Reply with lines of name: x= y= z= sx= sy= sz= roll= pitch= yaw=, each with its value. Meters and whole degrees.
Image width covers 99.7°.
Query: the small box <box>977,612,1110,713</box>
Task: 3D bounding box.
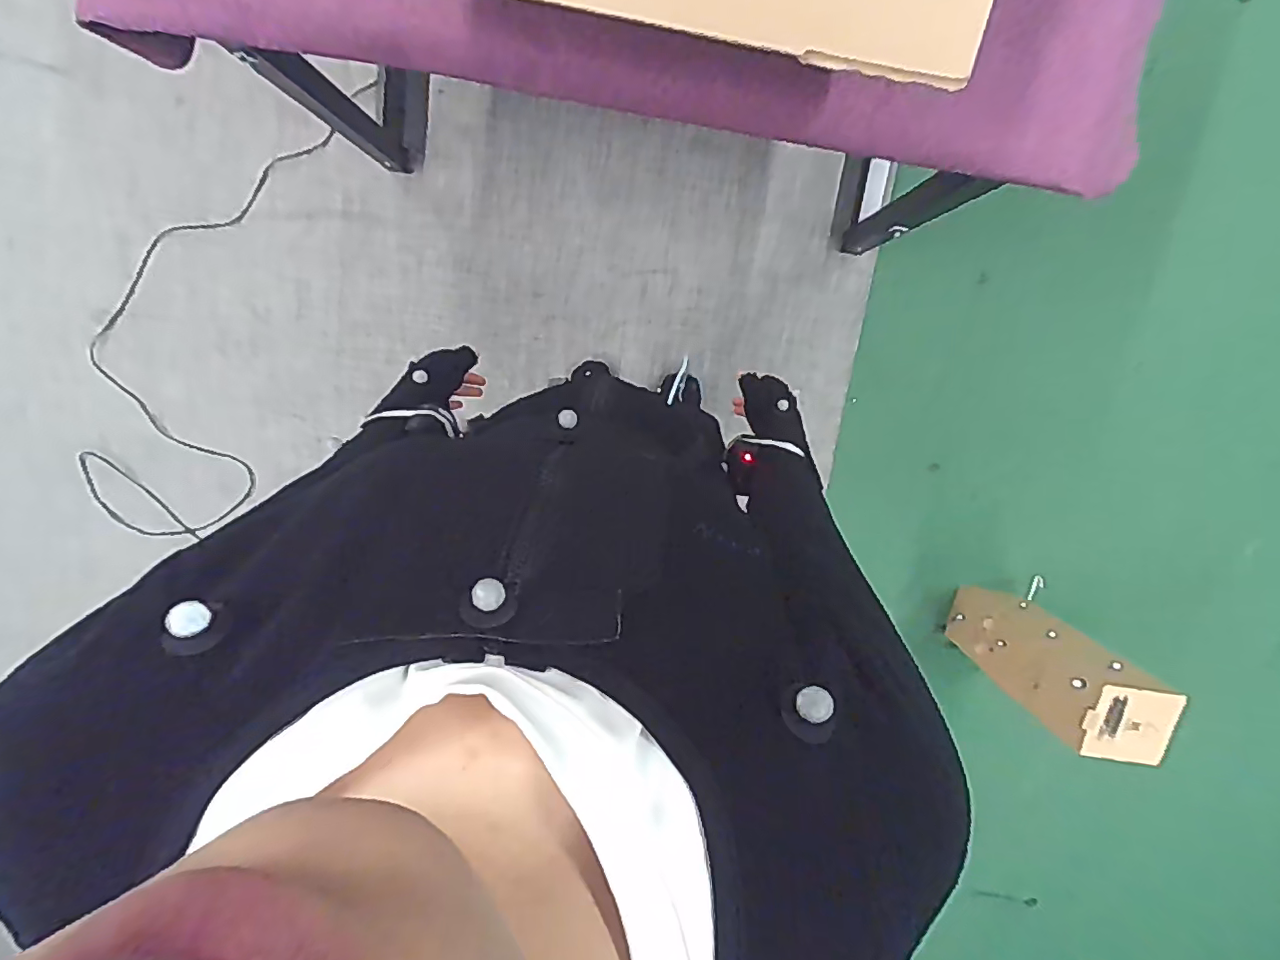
small box: x=0.988 y=0.444 z=1.339 sx=0.179 sy=0.176 sz=0.168 roll=9 pitch=103 yaw=-1

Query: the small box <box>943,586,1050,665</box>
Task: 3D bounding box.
small box: x=0.987 y=0.409 z=1.498 sx=0.179 sy=0.176 sz=0.168 roll=10 pitch=102 yaw=-2
